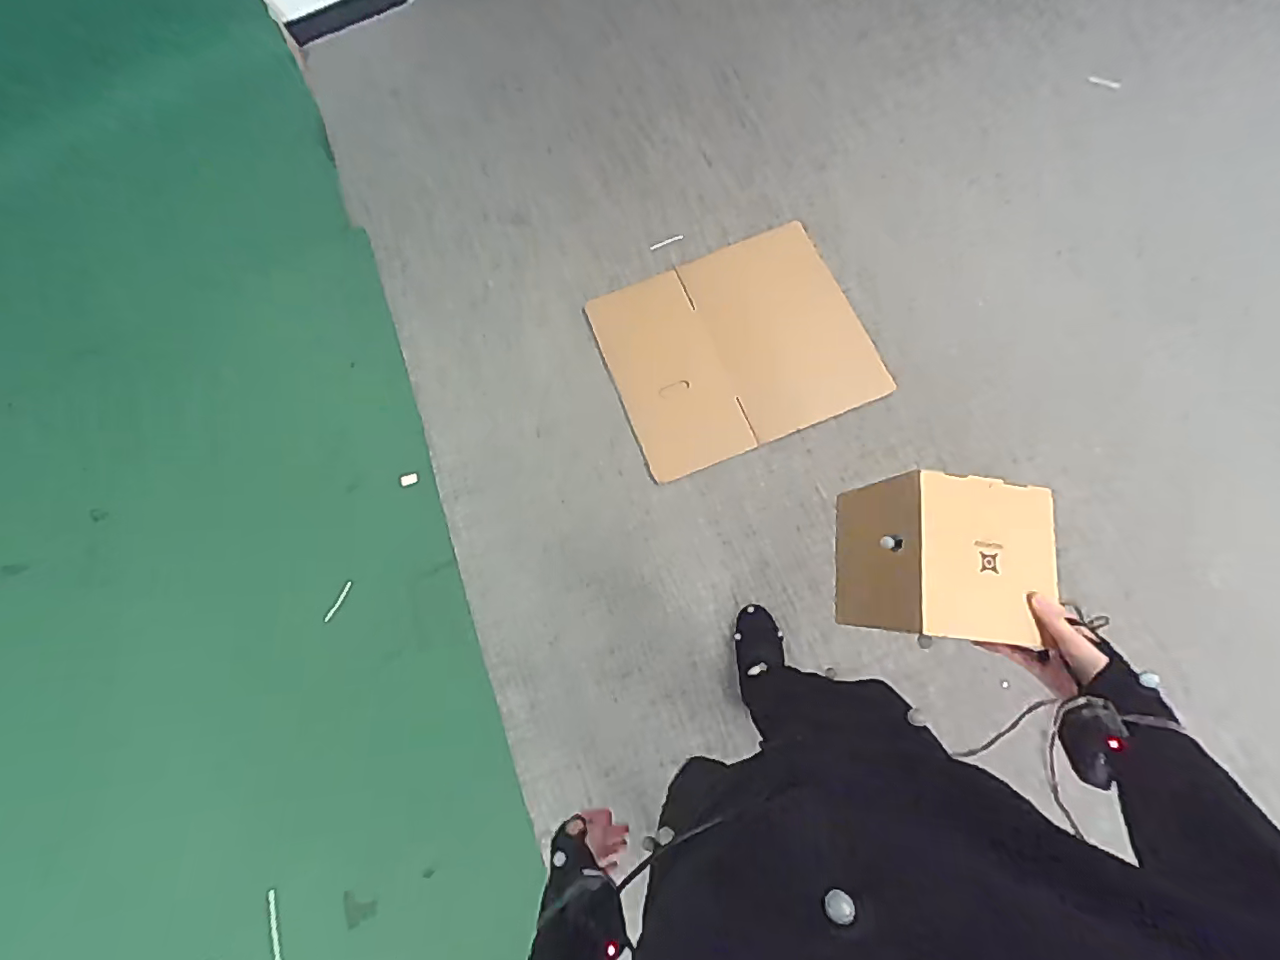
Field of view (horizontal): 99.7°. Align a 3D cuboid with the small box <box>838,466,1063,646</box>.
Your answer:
[{"bbox_3d":[0.355,0.096,0.649,0.168,0.176,0.179,8,76,-9],"label":"small box"}]
